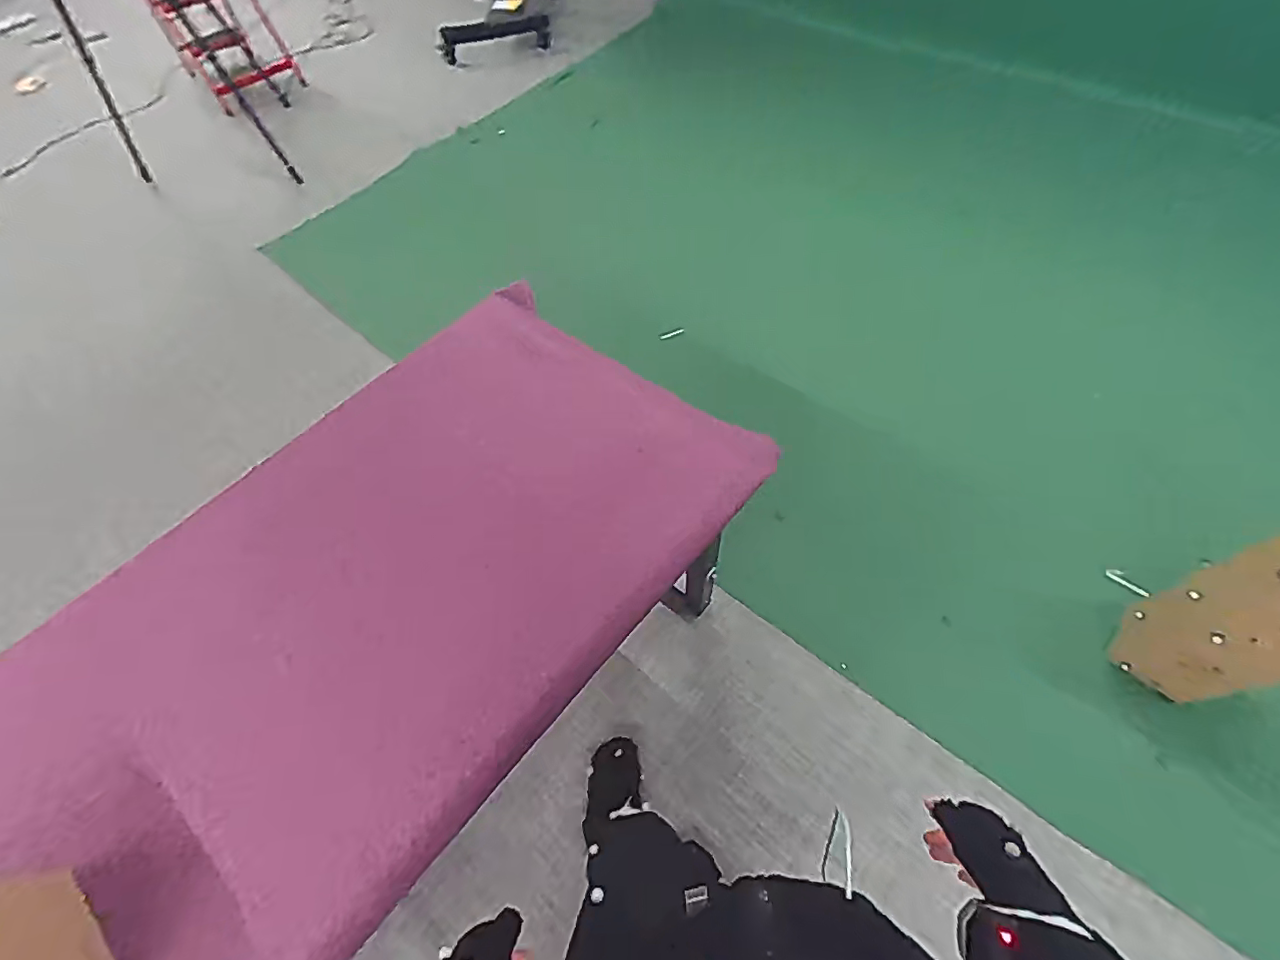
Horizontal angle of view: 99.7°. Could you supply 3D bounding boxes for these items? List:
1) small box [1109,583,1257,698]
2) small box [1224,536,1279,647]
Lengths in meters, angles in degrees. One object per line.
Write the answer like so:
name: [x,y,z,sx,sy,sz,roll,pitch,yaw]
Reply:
small box: [1.249,0.378,1.255,0.168,0.176,0.179,35,67,21]
small box: [1.230,0.203,0.978,0.168,0.176,0.179,32,66,20]
